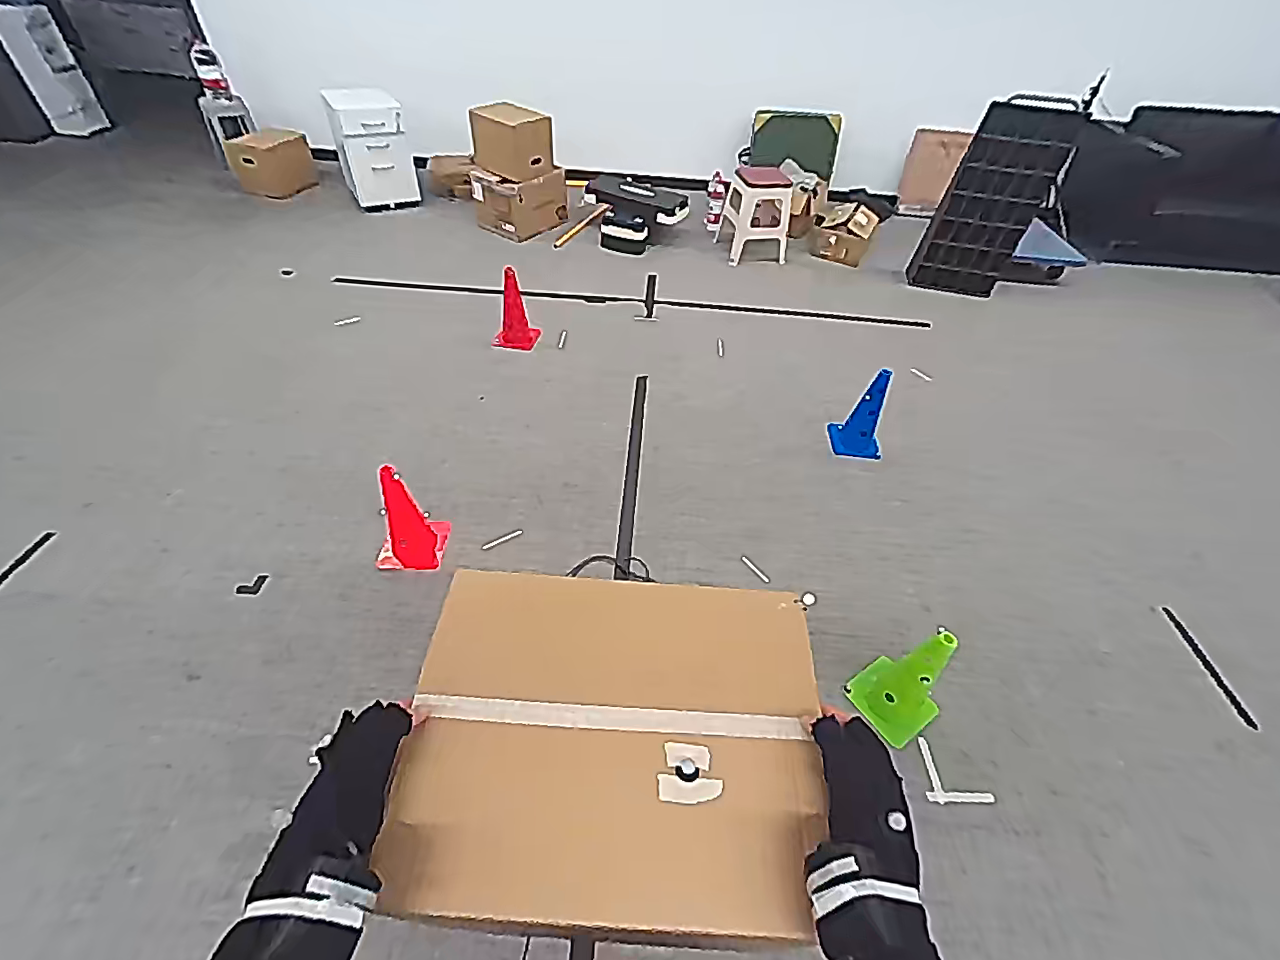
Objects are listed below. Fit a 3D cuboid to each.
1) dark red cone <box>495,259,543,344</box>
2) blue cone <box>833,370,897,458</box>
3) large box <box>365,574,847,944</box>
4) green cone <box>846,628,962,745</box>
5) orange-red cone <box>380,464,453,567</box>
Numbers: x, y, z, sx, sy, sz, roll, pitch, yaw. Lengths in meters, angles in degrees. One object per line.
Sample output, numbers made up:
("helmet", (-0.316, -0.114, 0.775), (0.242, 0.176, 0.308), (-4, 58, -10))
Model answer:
("dark red cone", (-0.586, -0.850, 2.563), (0.201, 0.394, 0.202), (10, 46, 3))
("blue cone", (0.940, -0.280, 2.196), (0.192, 0.380, 0.193), (8, 46, 1))
("large box", (-0.031, 0.335, 0.645), (0.408, 0.320, 0.320), (5, 48, -1))
("green cone", (0.726, 0.497, 1.401), (0.202, 0.368, 0.200), (-23, 53, -27))
("orange-red cone", (-0.731, 0.089, 1.675), (0.198, 0.360, 0.199), (2, 47, -1))
